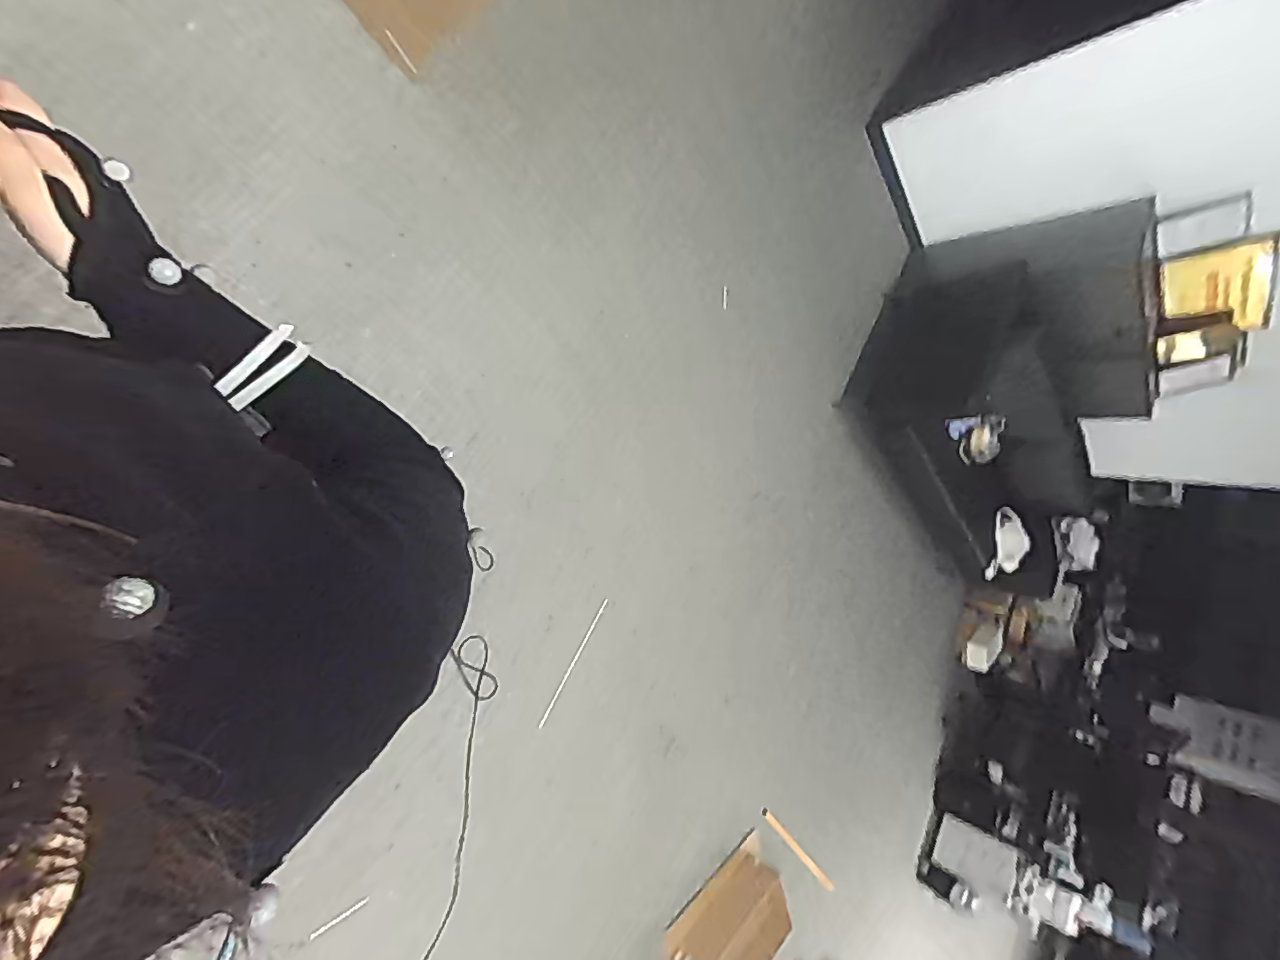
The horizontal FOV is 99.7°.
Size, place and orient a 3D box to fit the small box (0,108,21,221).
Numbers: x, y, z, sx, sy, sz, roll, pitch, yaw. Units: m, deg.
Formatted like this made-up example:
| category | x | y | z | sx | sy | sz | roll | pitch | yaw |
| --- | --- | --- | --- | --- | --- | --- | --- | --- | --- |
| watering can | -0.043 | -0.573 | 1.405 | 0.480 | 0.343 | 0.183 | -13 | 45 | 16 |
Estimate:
| category | x | y | z | sx | sy | sz | roll | pitch | yaw |
| --- | --- | --- | --- | --- | --- | --- | --- | --- | --- |
| small box | -0.422 | -0.216 | 0.229 | 0.168 | 0.176 | 0.179 | -22 | 133 | -34 |
